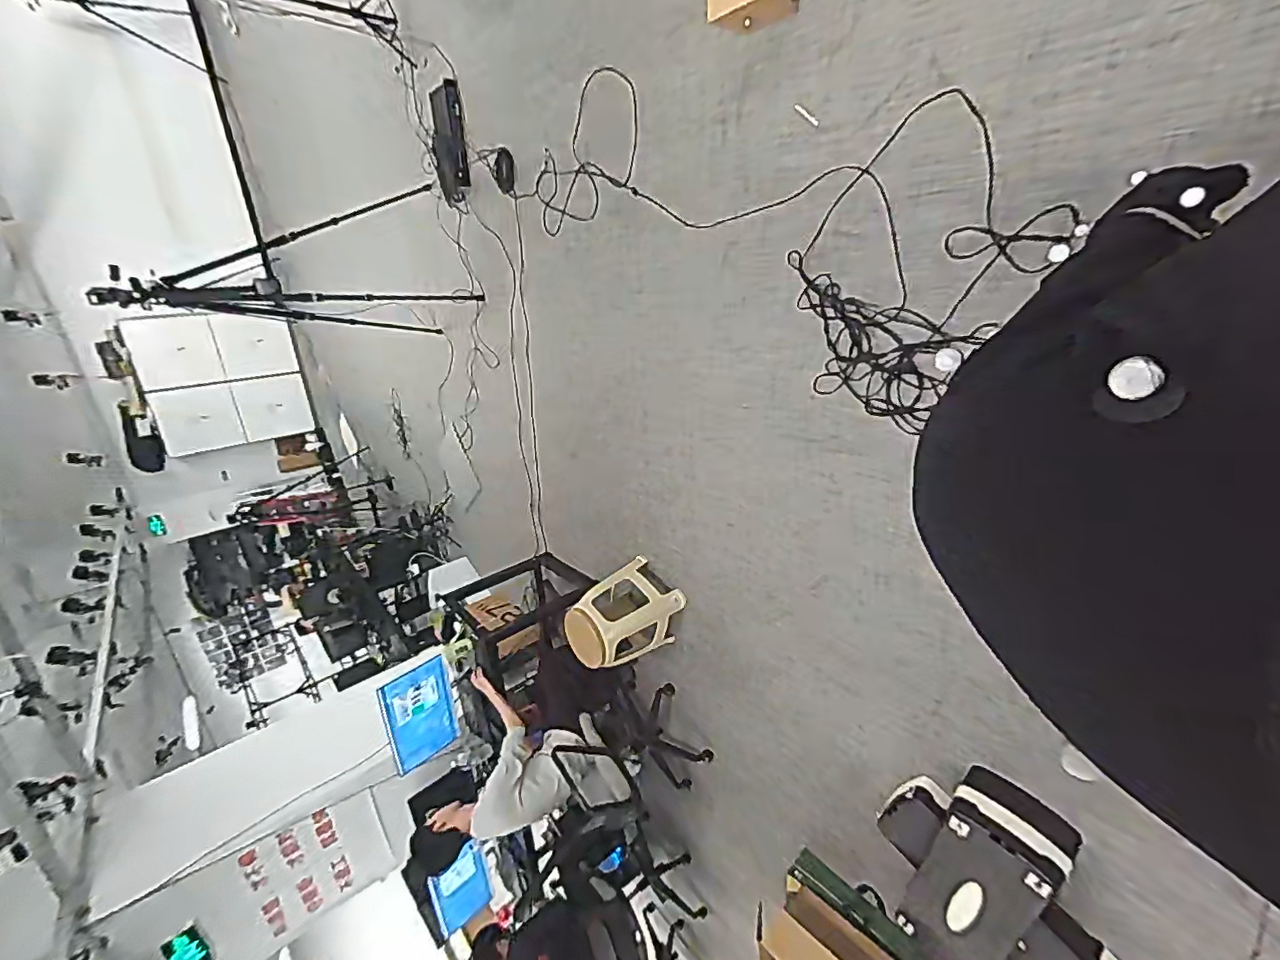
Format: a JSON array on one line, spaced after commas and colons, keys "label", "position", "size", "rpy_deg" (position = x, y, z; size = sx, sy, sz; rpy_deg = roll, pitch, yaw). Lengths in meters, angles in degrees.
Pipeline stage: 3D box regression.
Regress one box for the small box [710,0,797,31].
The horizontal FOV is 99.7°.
[{"label": "small box", "position": [0.302, -1.310, 1.405], "size": [0.179, 0.176, 0.168], "rpy_deg": [21, 122, 46]}]
